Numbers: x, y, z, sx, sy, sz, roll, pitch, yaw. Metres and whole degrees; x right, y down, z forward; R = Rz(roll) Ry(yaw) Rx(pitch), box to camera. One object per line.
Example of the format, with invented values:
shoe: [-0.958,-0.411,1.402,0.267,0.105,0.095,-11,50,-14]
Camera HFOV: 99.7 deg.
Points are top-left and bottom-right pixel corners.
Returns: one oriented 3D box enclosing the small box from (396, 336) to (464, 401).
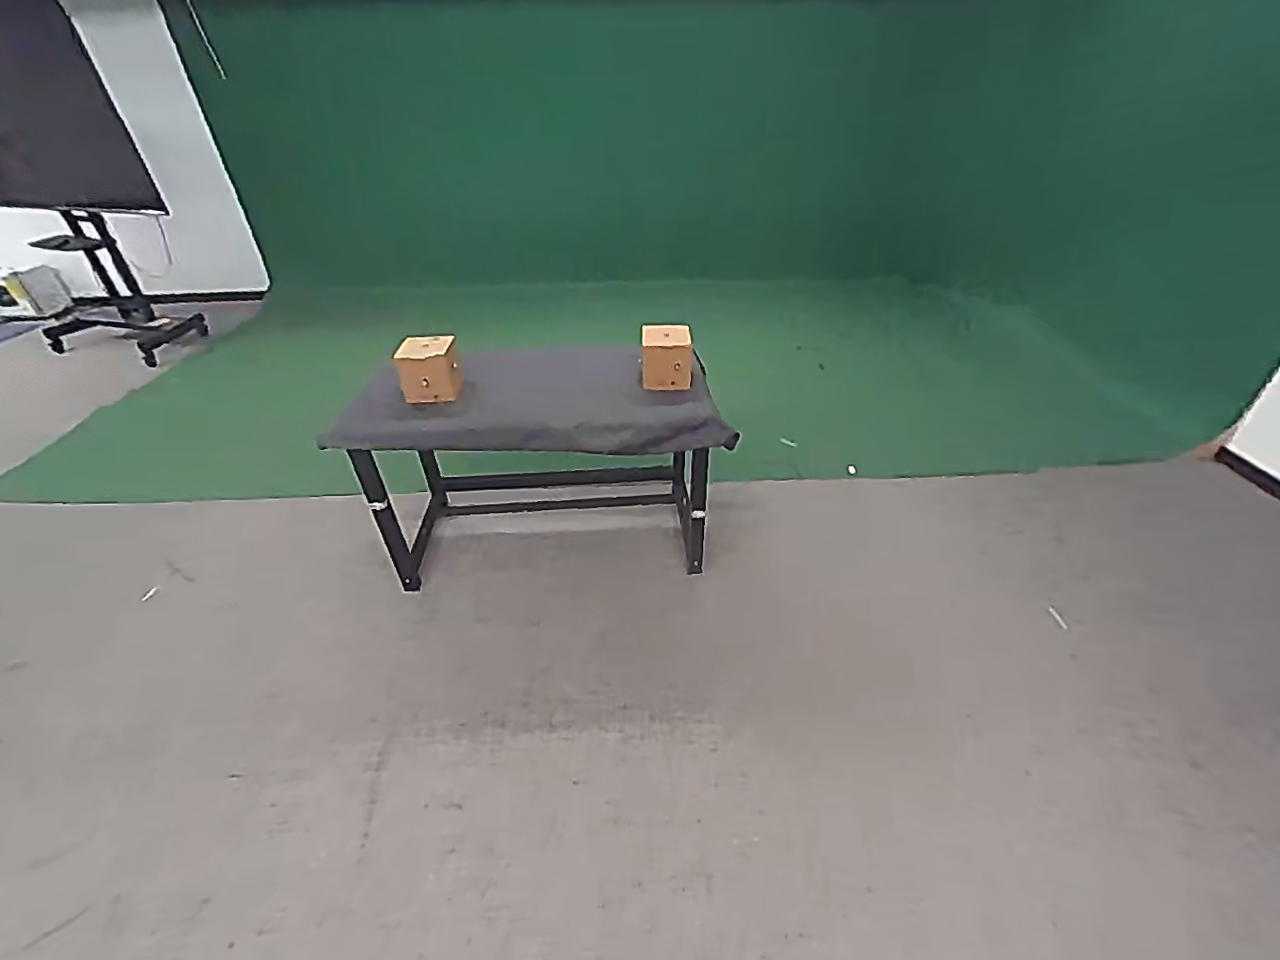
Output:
small box: [-0.714,-0.382,1.862,0.168,0.176,0.179,-3,37,-4]

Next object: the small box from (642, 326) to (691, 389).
small box: [0.091,-0.431,1.901,0.168,0.176,0.179,0,36,0]
